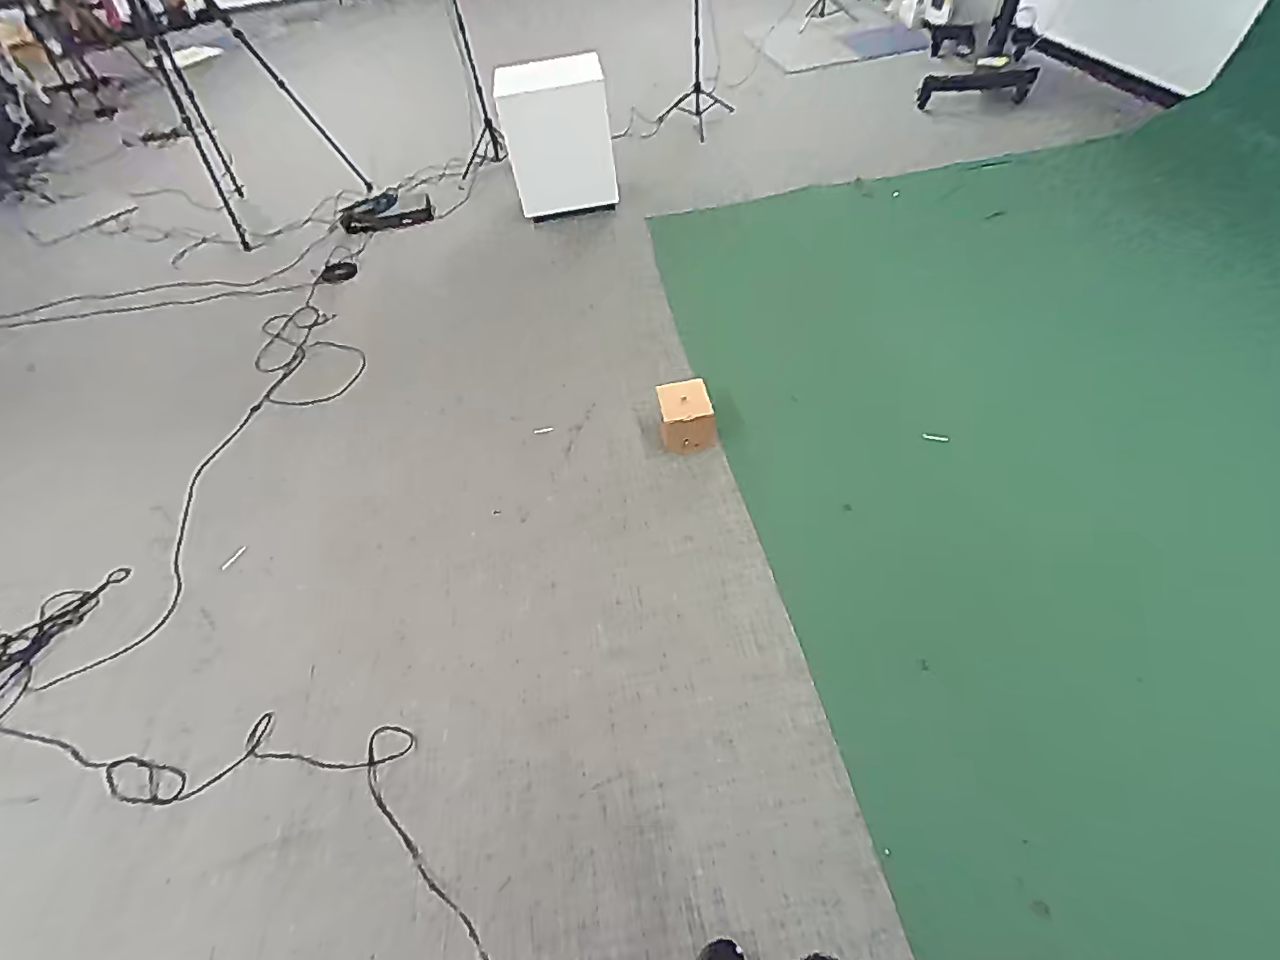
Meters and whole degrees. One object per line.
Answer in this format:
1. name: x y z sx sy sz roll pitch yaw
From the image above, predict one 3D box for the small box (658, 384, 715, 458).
1. small box: 0.158 -0.204 1.880 0.168 0.176 0.179 -11 53 -2
